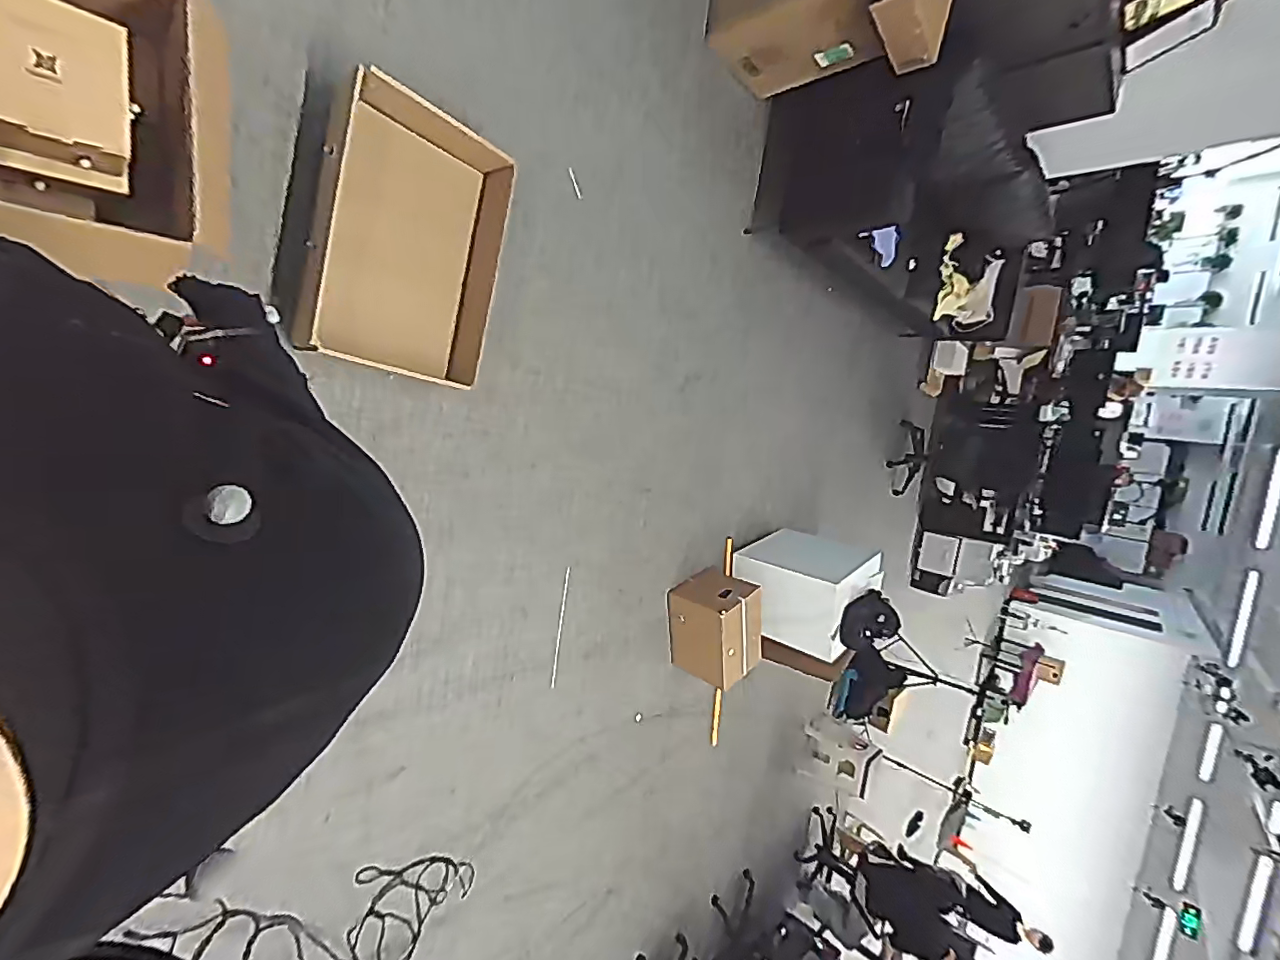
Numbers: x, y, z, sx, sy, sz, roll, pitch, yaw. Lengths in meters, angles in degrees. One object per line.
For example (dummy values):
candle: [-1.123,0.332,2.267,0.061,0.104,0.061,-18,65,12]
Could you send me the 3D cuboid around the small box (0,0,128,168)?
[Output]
small box: [-0.855,-0.577,0.775,0.168,0.176,0.179,-4,104,-48]
